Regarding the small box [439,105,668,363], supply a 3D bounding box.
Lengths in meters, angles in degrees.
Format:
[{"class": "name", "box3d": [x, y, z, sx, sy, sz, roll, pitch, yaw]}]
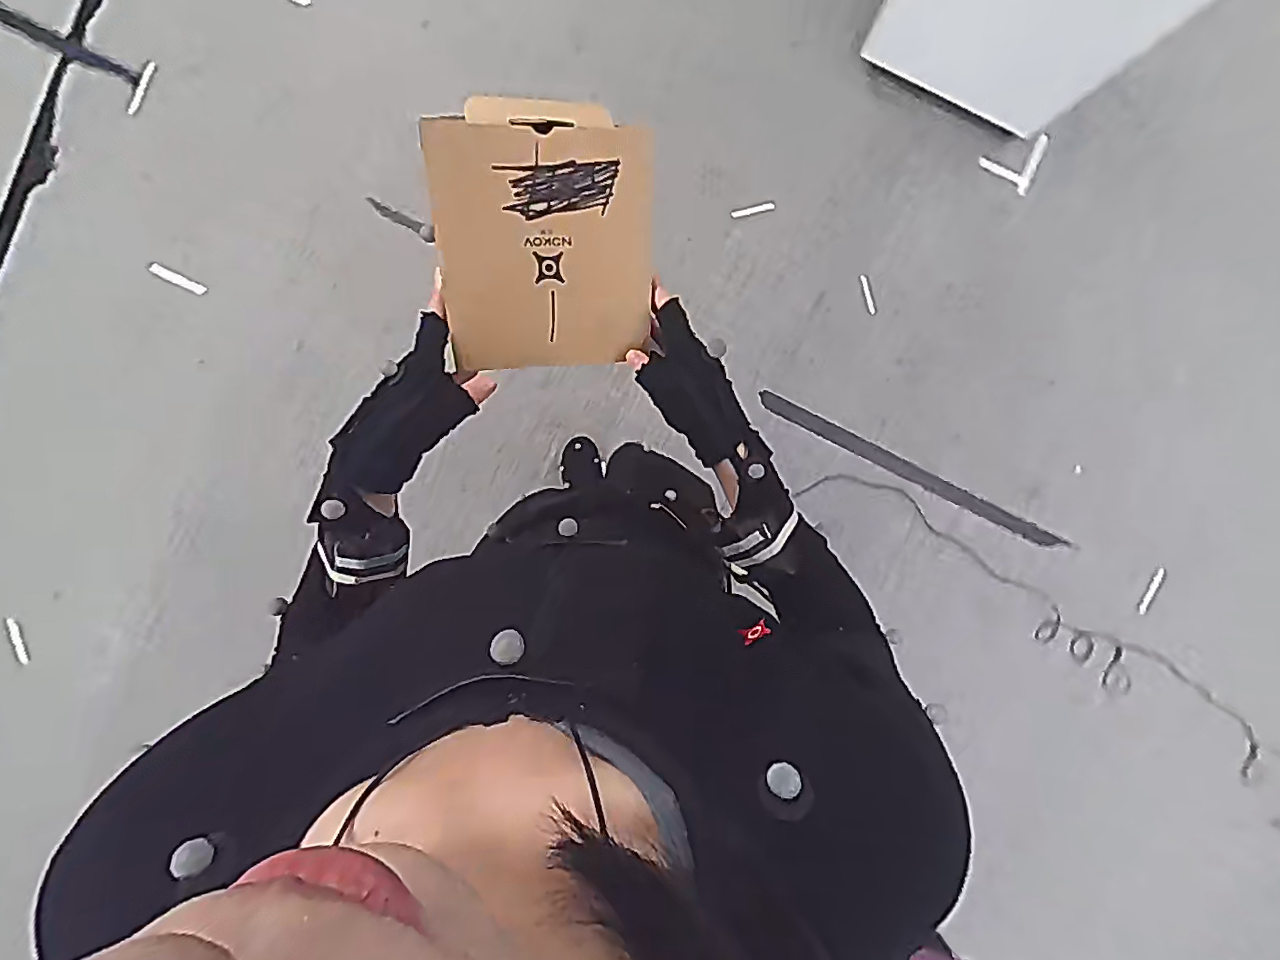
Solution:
[{"class": "small box", "box3d": [-0.081, -0.213, 0.483, 0.168, 0.176, 0.179, -5, 118, -13]}]
